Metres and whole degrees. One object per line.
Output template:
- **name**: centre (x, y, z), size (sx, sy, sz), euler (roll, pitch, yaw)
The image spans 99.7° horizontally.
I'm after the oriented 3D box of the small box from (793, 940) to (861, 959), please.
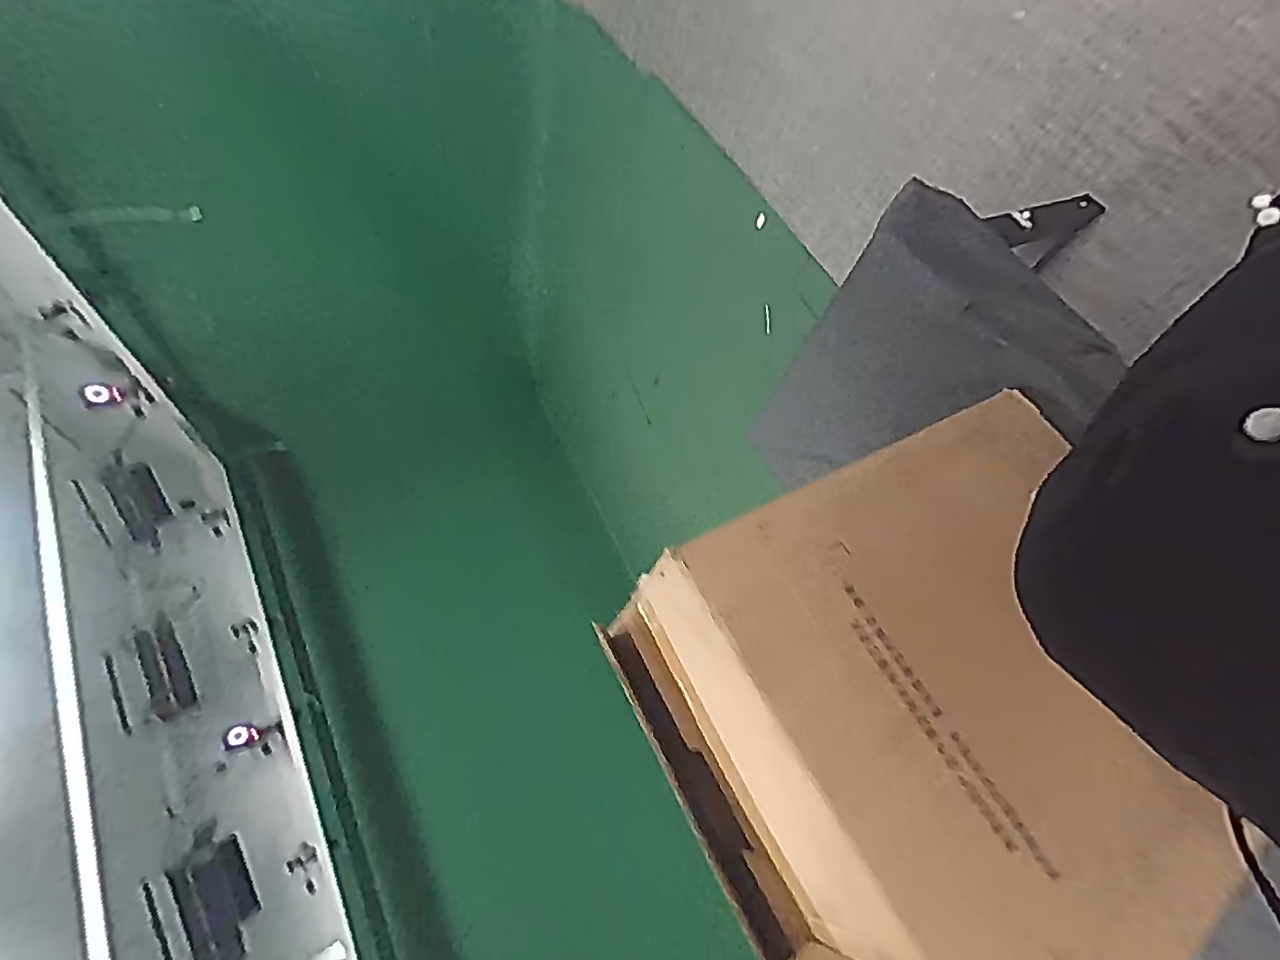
- **small box**: centre (0.174, 0.525, 0.431), size (0.168, 0.176, 0.179), euler (57, 153, 17)
